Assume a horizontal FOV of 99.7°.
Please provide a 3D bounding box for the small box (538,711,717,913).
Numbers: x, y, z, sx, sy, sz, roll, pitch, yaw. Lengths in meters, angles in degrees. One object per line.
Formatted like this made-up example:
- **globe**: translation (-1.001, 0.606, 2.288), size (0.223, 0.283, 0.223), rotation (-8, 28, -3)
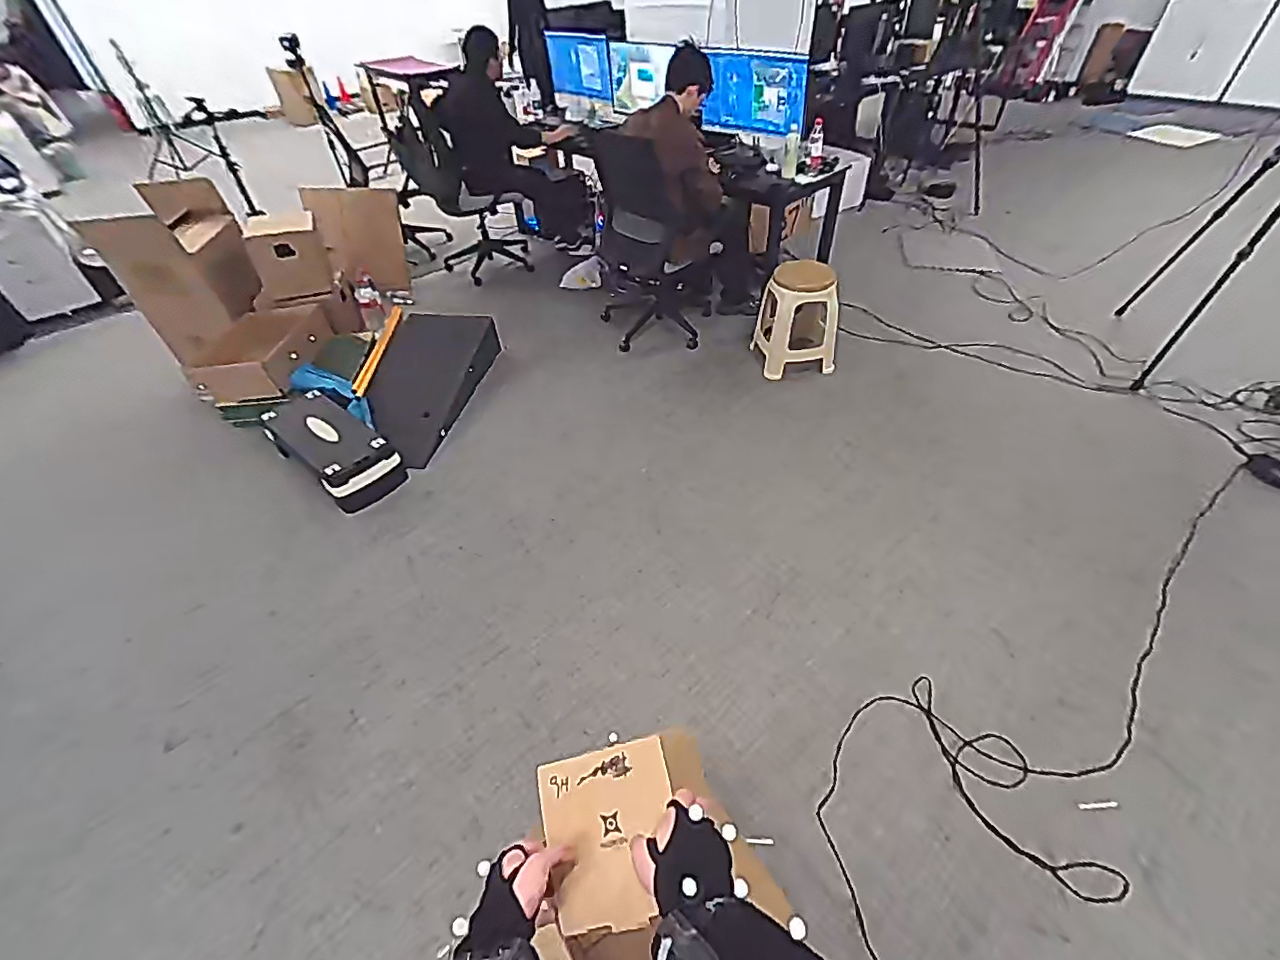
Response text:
- **small box**: translation (-0.010, 0.422, 0.715), size (0.168, 0.176, 0.179), rotation (-22, 65, 10)
